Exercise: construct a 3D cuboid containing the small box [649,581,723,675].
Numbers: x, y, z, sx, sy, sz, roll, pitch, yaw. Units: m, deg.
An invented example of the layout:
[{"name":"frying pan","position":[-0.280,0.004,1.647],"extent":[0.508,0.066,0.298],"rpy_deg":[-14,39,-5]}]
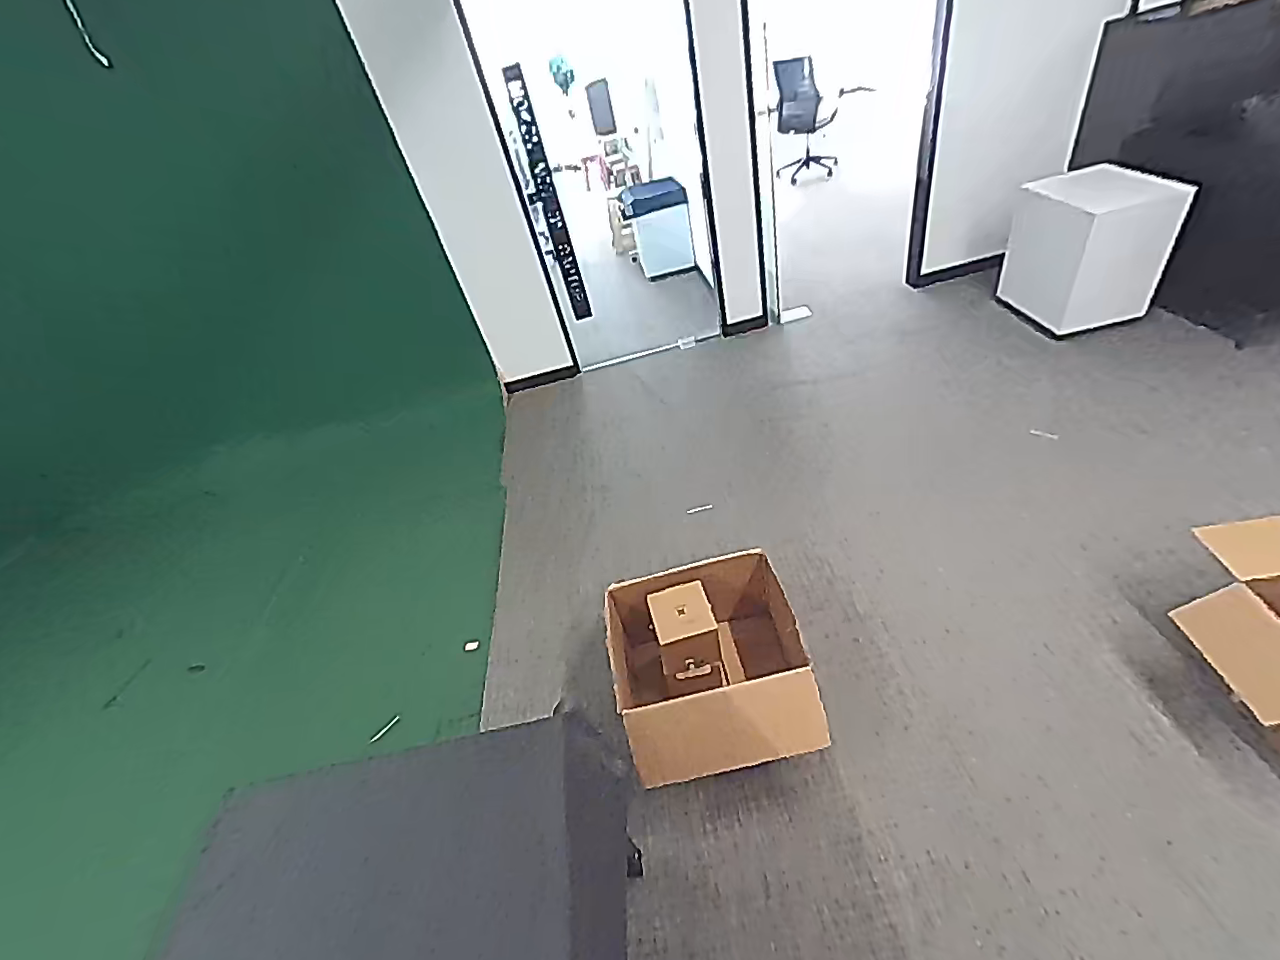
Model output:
[{"name":"small box","position":[0.132,0.423,1.548],"extent":[0.168,0.176,0.179],"rpy_deg":[-15,40,-4]}]
